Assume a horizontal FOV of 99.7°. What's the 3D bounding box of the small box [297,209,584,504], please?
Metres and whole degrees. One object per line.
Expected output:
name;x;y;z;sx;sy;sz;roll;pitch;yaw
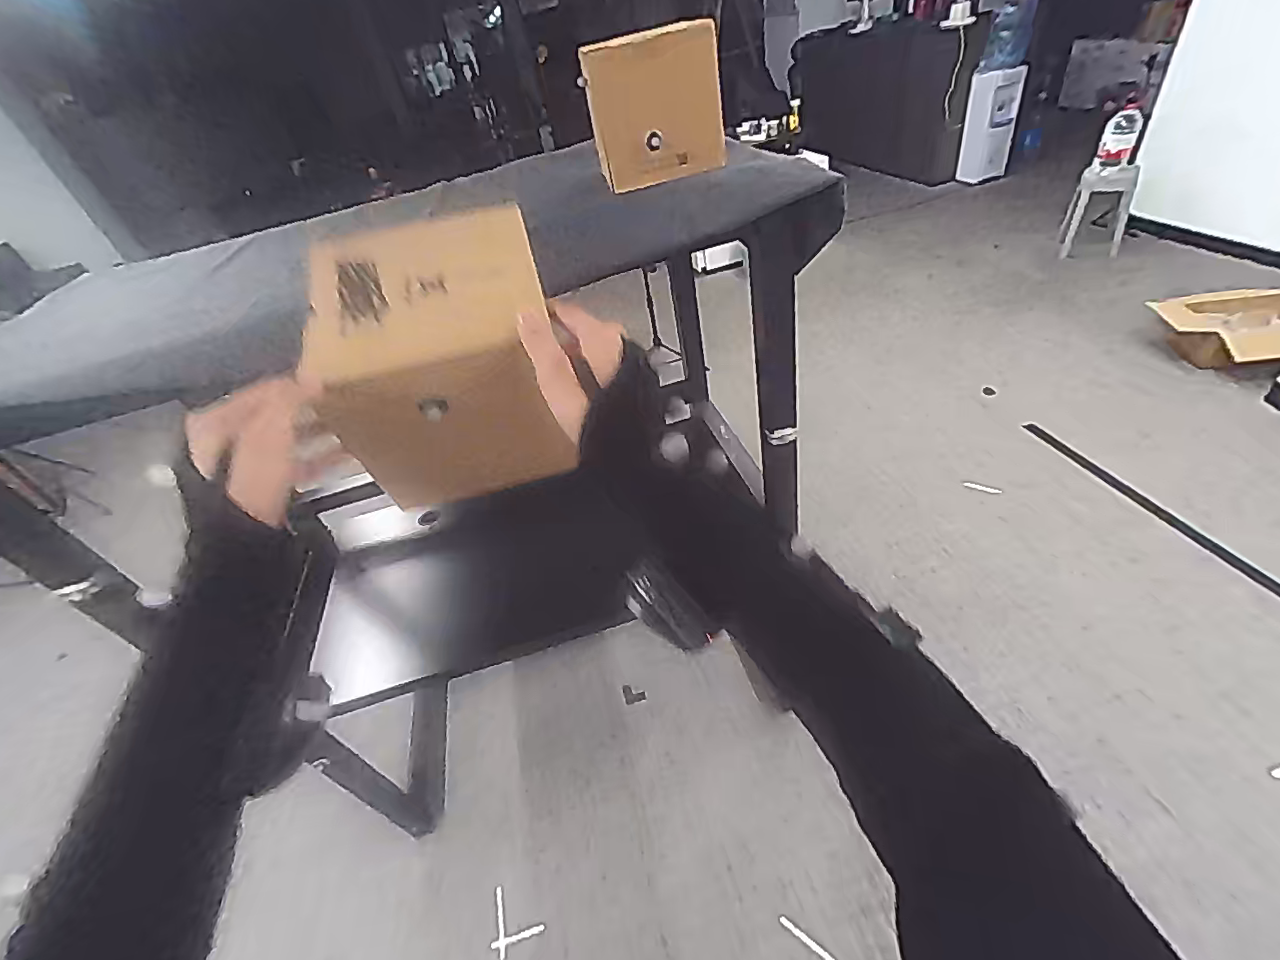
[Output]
small box;-0.157;-0.099;0.472;0.179;0.176;0.168;-14;58;-6

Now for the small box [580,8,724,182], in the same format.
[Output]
small box;0.016;-0.545;0.773;0.168;0.176;0.179;-14;40;1
